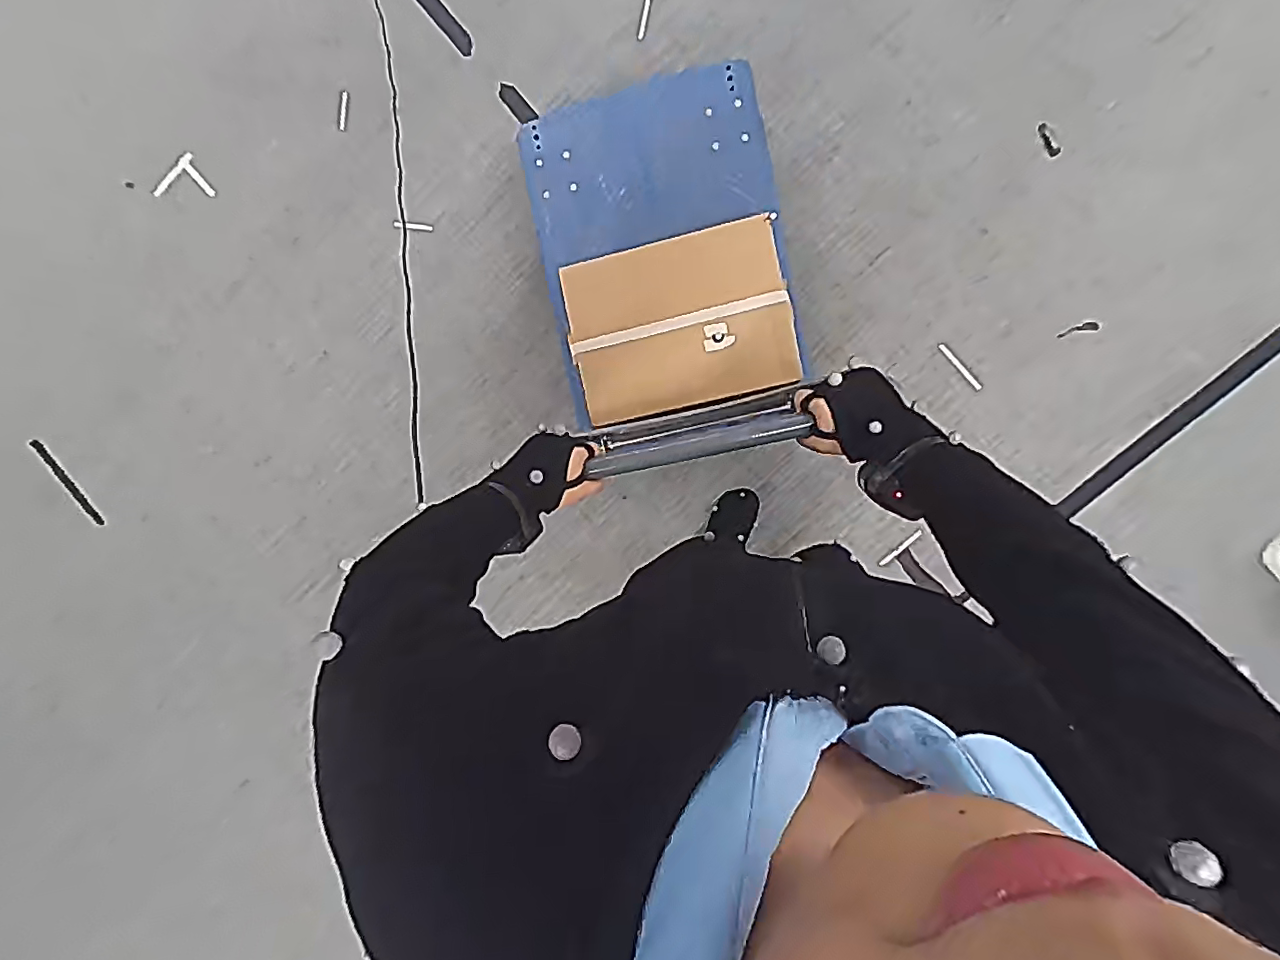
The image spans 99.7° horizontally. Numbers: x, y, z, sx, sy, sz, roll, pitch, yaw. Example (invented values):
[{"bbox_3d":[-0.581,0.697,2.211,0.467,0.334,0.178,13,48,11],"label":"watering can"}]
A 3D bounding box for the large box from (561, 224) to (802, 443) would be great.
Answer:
[{"bbox_3d":[0.088,-0.278,1.154,0.408,0.320,0.320,-12,91,7],"label":"large box"}]
